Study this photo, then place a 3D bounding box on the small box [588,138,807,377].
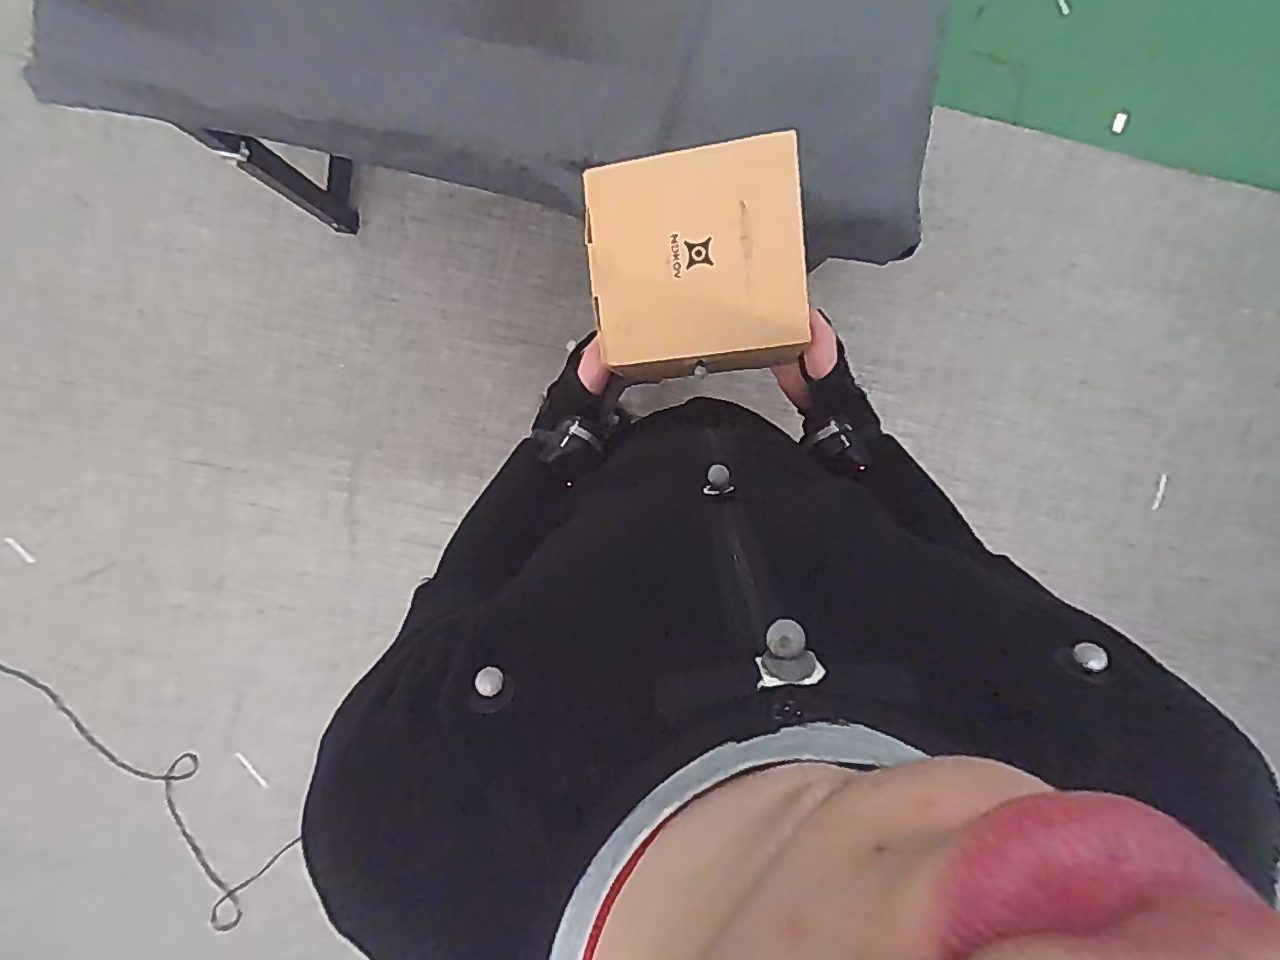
[{"bbox_3d":[0.060,-0.197,0.533,0.179,0.176,0.168,-5,96,9],"label":"small box"}]
